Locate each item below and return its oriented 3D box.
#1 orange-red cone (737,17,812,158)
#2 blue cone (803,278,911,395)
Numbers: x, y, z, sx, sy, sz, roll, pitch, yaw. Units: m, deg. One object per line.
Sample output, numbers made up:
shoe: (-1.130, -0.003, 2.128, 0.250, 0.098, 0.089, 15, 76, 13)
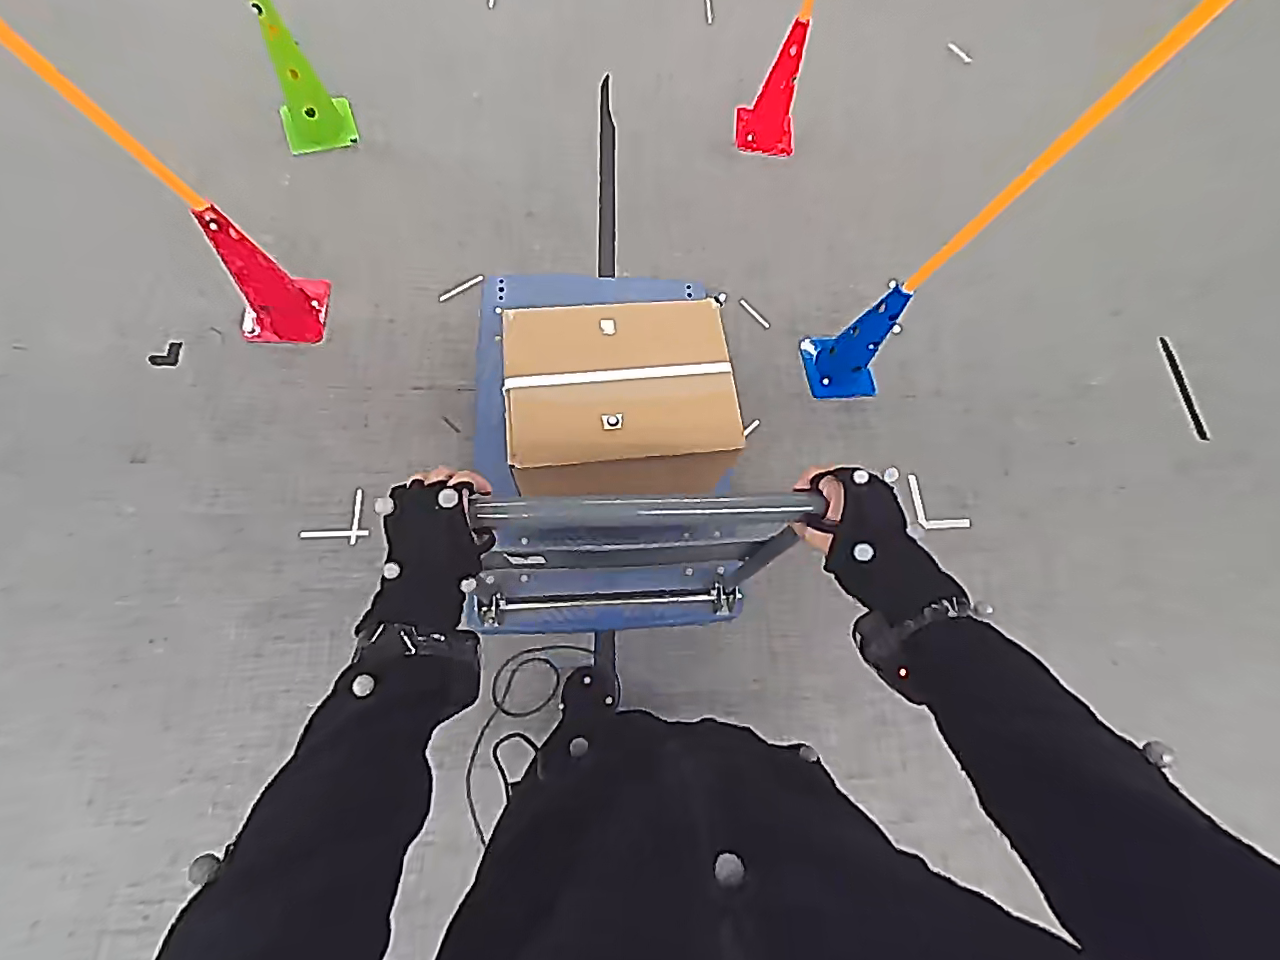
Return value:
orange-red cone: (0.456, -1.253, 1.705, 0.199, 0.360, 0.198, 7, 71, -5)
blue cone: (0.606, -0.392, 1.448, 0.193, 0.380, 0.192, -3, 71, -8)
